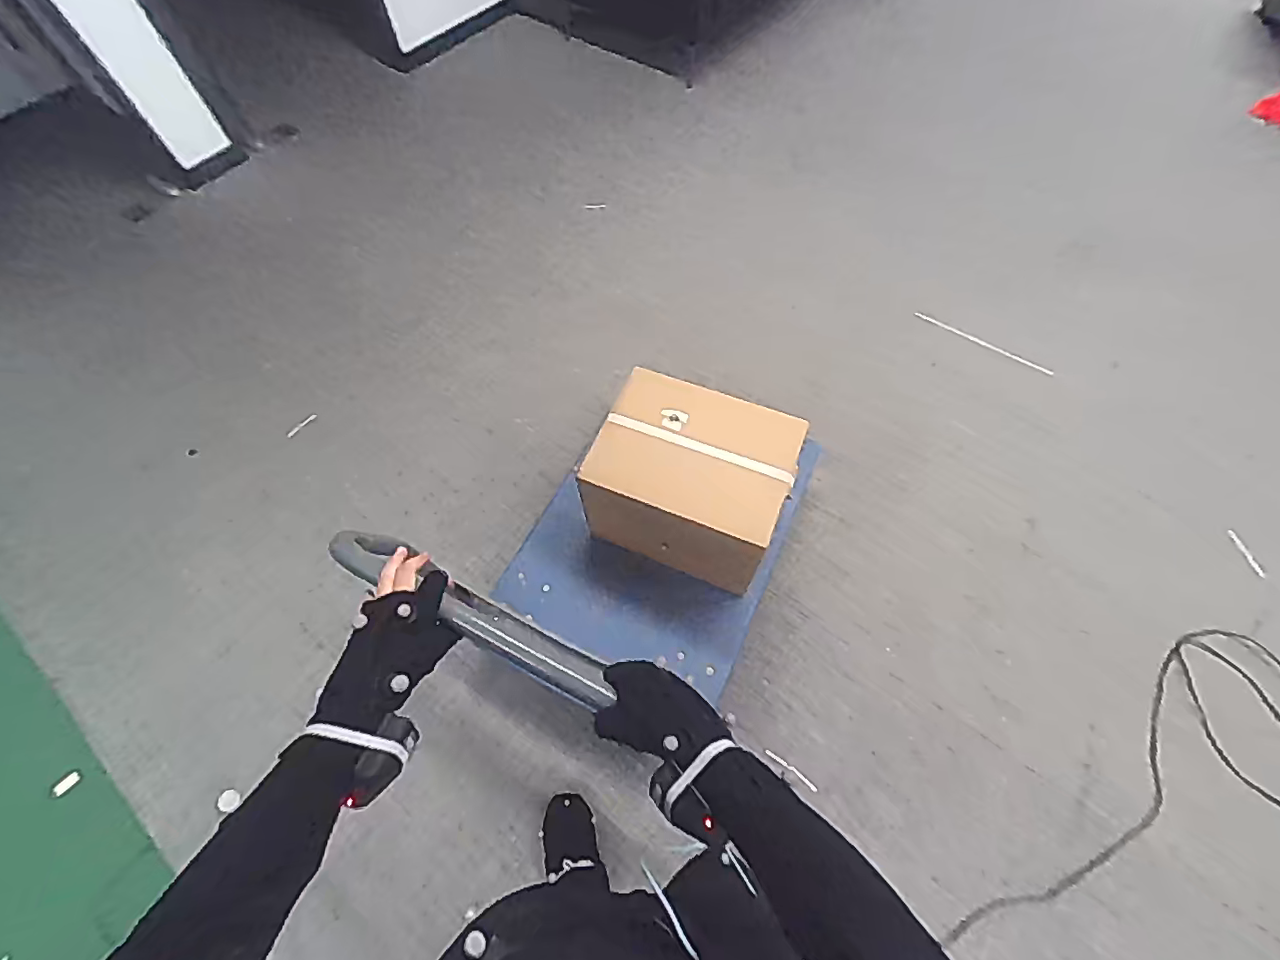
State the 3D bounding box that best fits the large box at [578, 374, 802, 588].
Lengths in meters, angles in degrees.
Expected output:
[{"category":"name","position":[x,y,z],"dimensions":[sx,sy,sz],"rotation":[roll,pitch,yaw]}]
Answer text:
[{"category":"large box","position":[0.119,0.010,1.263],"dimensions":[0.408,0.320,0.320],"rotation":[19,64,13]}]
